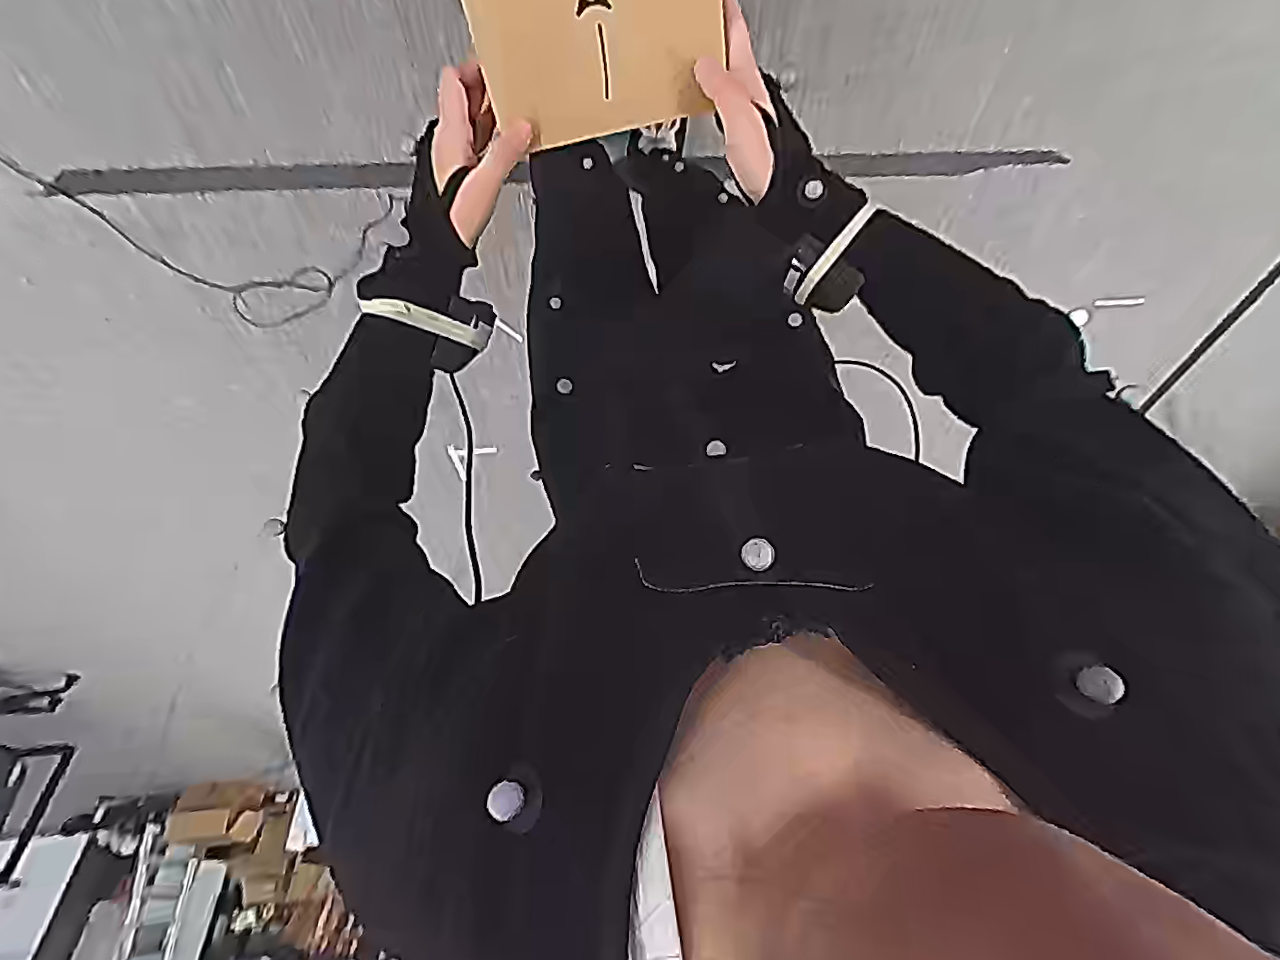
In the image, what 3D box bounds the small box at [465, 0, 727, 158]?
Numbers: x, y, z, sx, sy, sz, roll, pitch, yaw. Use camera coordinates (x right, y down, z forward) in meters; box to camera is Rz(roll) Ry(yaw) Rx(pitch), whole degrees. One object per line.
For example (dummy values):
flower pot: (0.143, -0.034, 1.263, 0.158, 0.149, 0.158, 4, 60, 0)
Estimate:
small box: (-0.039, -0.365, 0.402, 0.168, 0.176, 0.179, -12, 129, 2)
